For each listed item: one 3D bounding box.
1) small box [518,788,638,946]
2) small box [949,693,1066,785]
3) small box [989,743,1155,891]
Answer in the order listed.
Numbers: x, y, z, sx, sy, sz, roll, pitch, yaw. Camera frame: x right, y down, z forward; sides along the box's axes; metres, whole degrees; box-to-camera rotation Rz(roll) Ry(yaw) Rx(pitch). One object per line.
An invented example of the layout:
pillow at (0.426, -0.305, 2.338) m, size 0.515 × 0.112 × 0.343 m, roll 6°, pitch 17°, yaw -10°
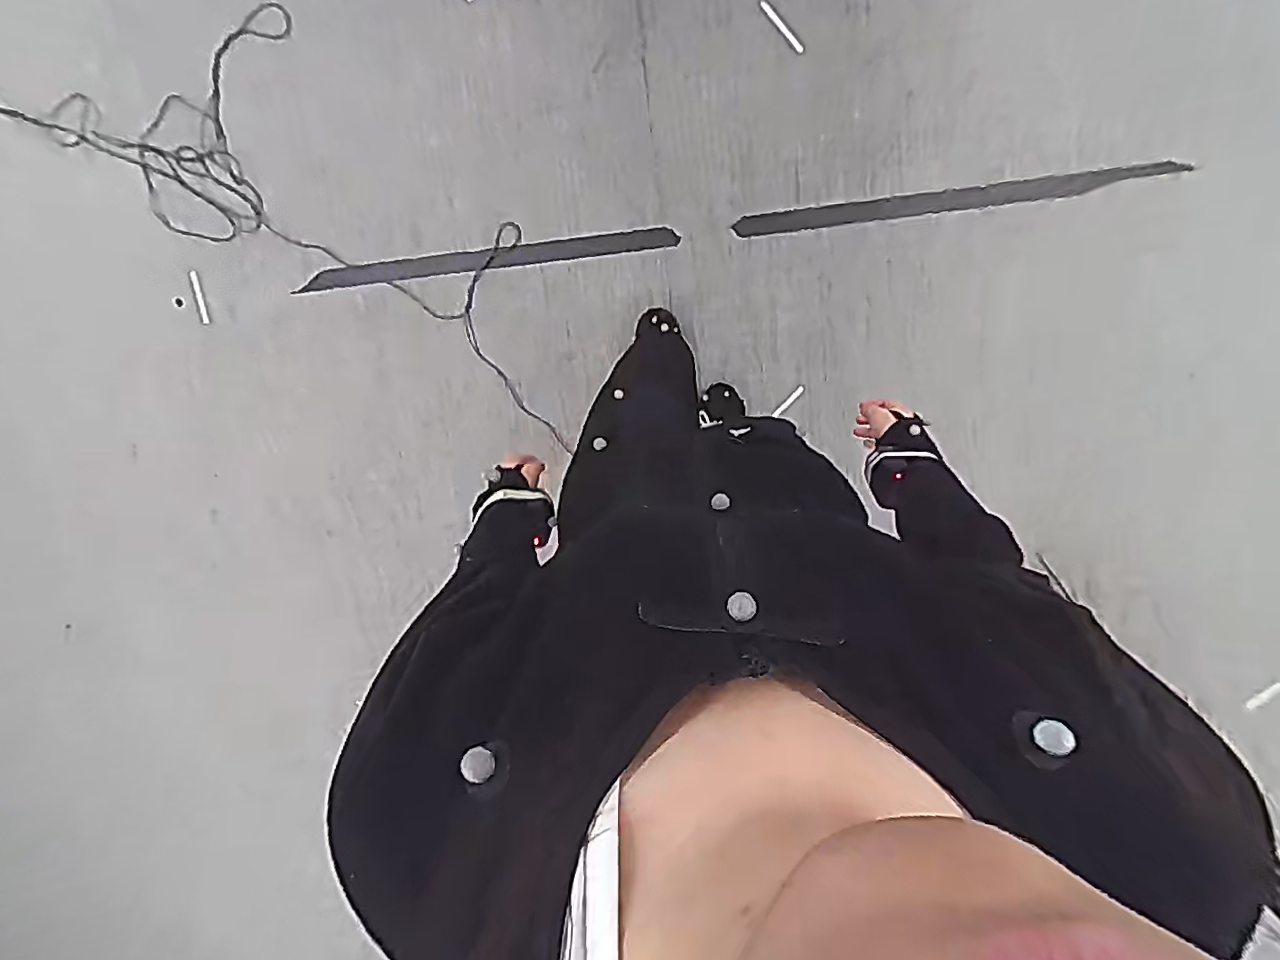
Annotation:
small box at (-0.119, 0.792, 1.124) m, size 0.168 × 0.176 × 0.179 m, roll 44°, pitch 101°, yaw -6°
small box at (0.895, 0.653, 1.295) m, size 0.179 × 0.176 × 0.168 m, roll 41°, pitch 101°, yaw -5°
small box at (0.891, 0.692, 1.135) m, size 0.179 × 0.176 × 0.168 m, roll 40°, pitch 102°, yaw -7°
